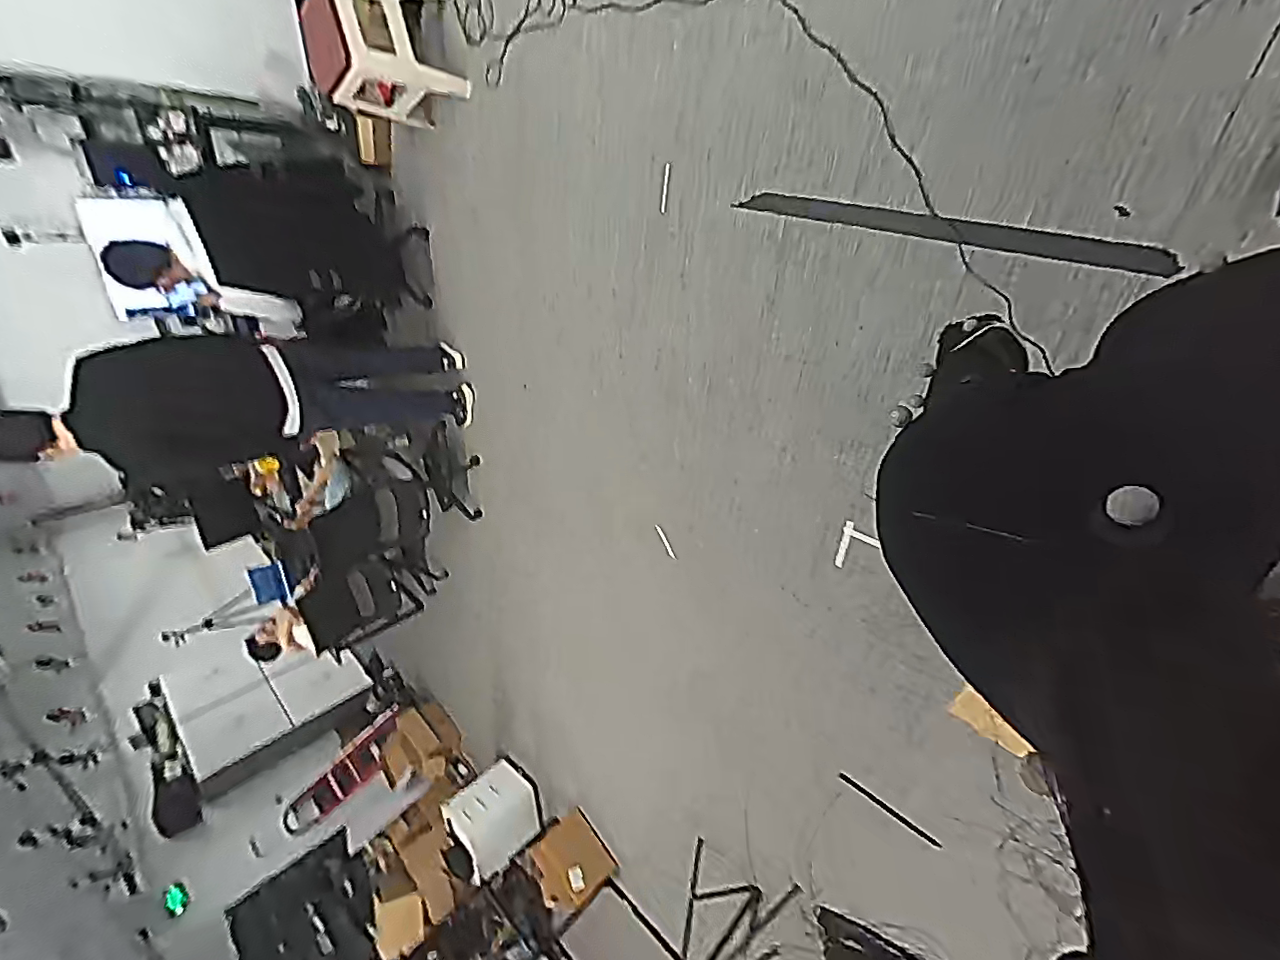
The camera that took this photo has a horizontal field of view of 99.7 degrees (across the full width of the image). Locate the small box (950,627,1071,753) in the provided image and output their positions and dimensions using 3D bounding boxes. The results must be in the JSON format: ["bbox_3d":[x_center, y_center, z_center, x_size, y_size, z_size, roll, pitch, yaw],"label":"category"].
[{"bbox_3d":[0.870,0.485,1.267,0.168,0.176,0.179,32,130,32],"label":"small box"}]
